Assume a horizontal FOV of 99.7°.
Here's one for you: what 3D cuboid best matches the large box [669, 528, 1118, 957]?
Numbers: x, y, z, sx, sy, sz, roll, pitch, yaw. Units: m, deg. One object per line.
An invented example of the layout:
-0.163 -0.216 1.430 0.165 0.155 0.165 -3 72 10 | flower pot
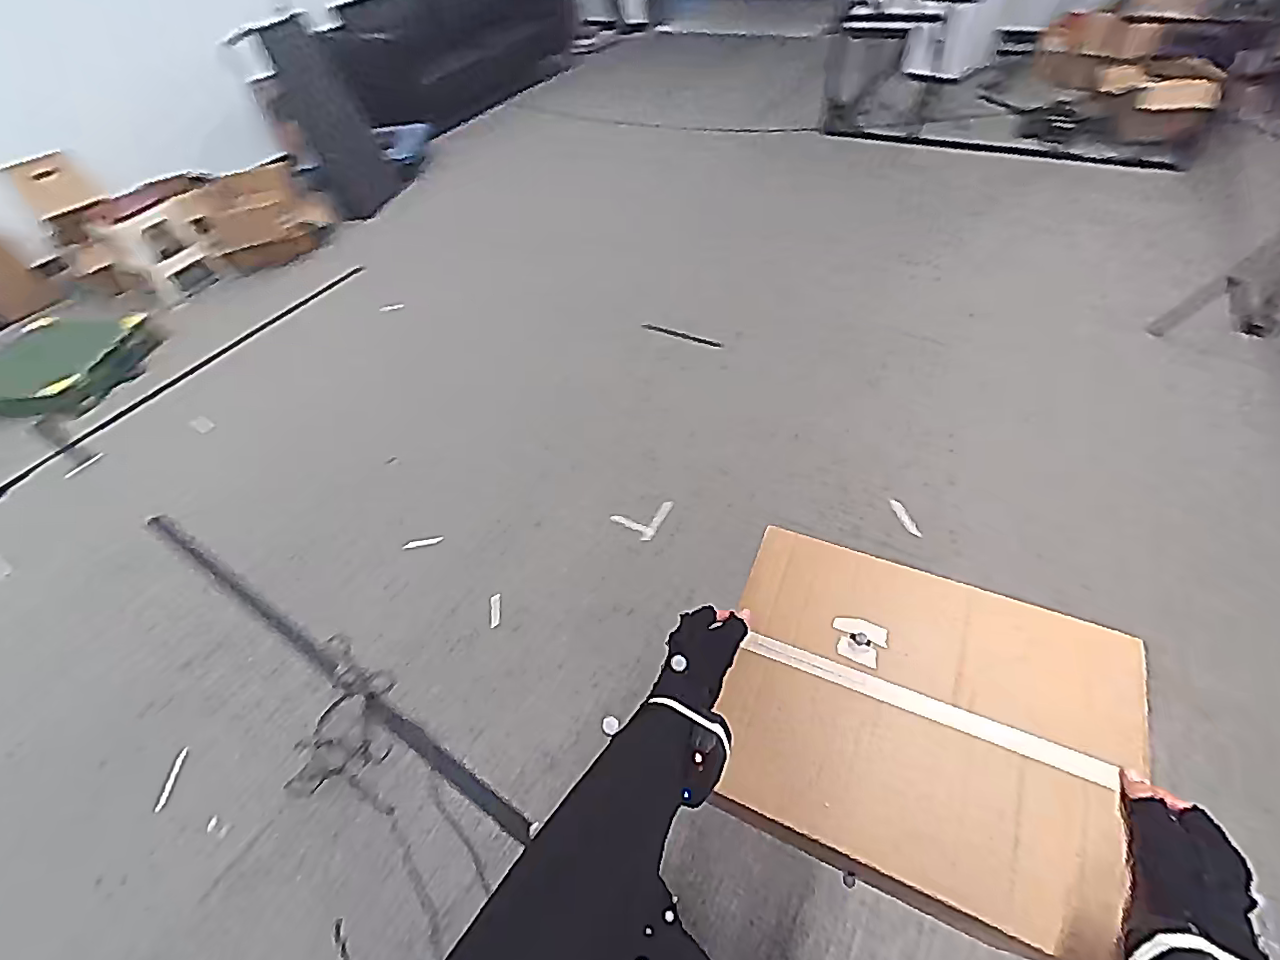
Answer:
0.291 0.310 0.698 0.408 0.320 0.320 15 59 20 | large box
